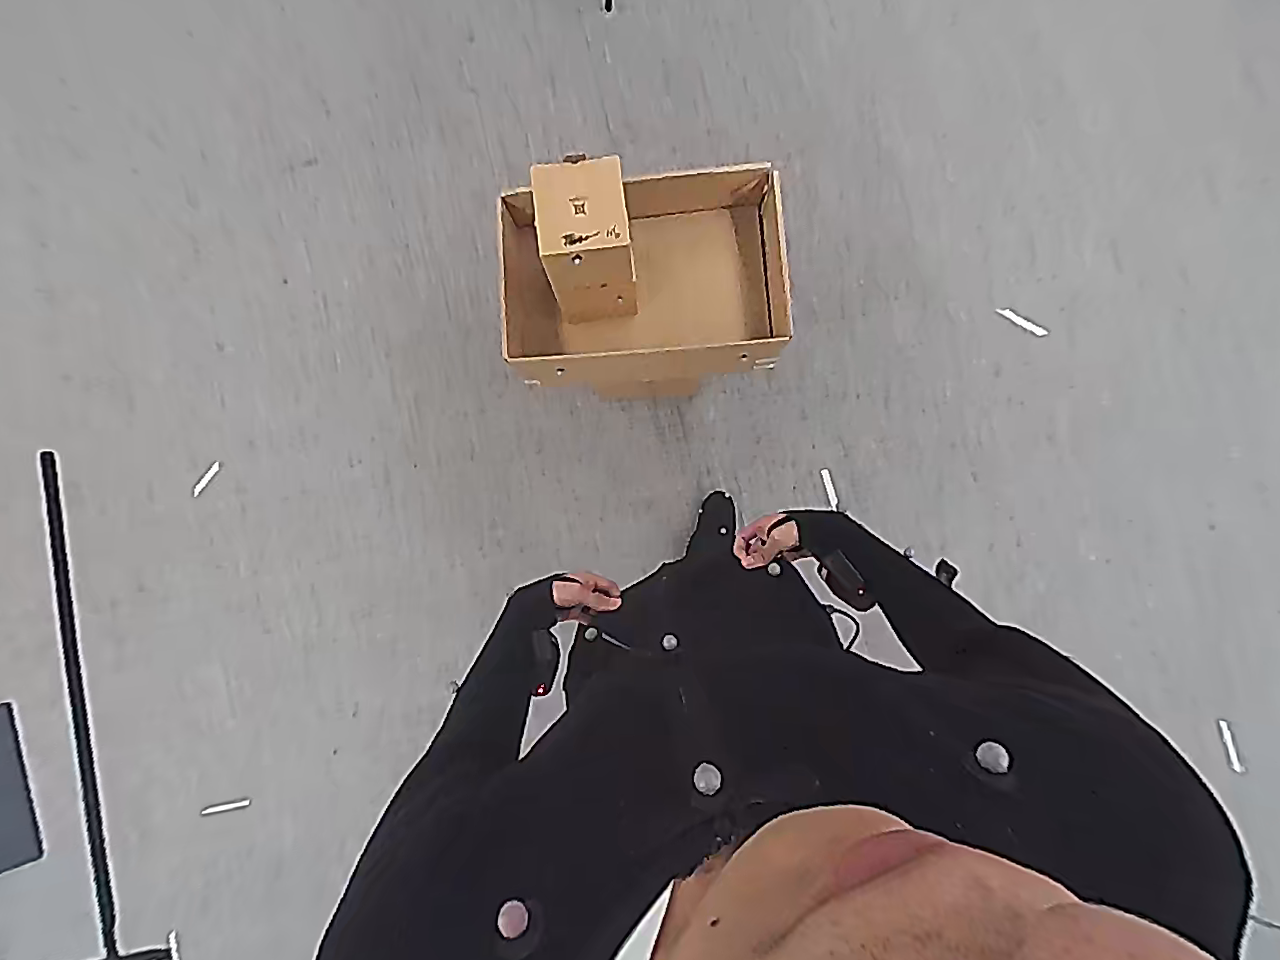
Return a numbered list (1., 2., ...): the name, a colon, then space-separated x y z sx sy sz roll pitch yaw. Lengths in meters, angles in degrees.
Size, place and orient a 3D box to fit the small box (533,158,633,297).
1. small box: -0.105 -0.480 1.048 0.168 0.176 0.179 -7 84 1
